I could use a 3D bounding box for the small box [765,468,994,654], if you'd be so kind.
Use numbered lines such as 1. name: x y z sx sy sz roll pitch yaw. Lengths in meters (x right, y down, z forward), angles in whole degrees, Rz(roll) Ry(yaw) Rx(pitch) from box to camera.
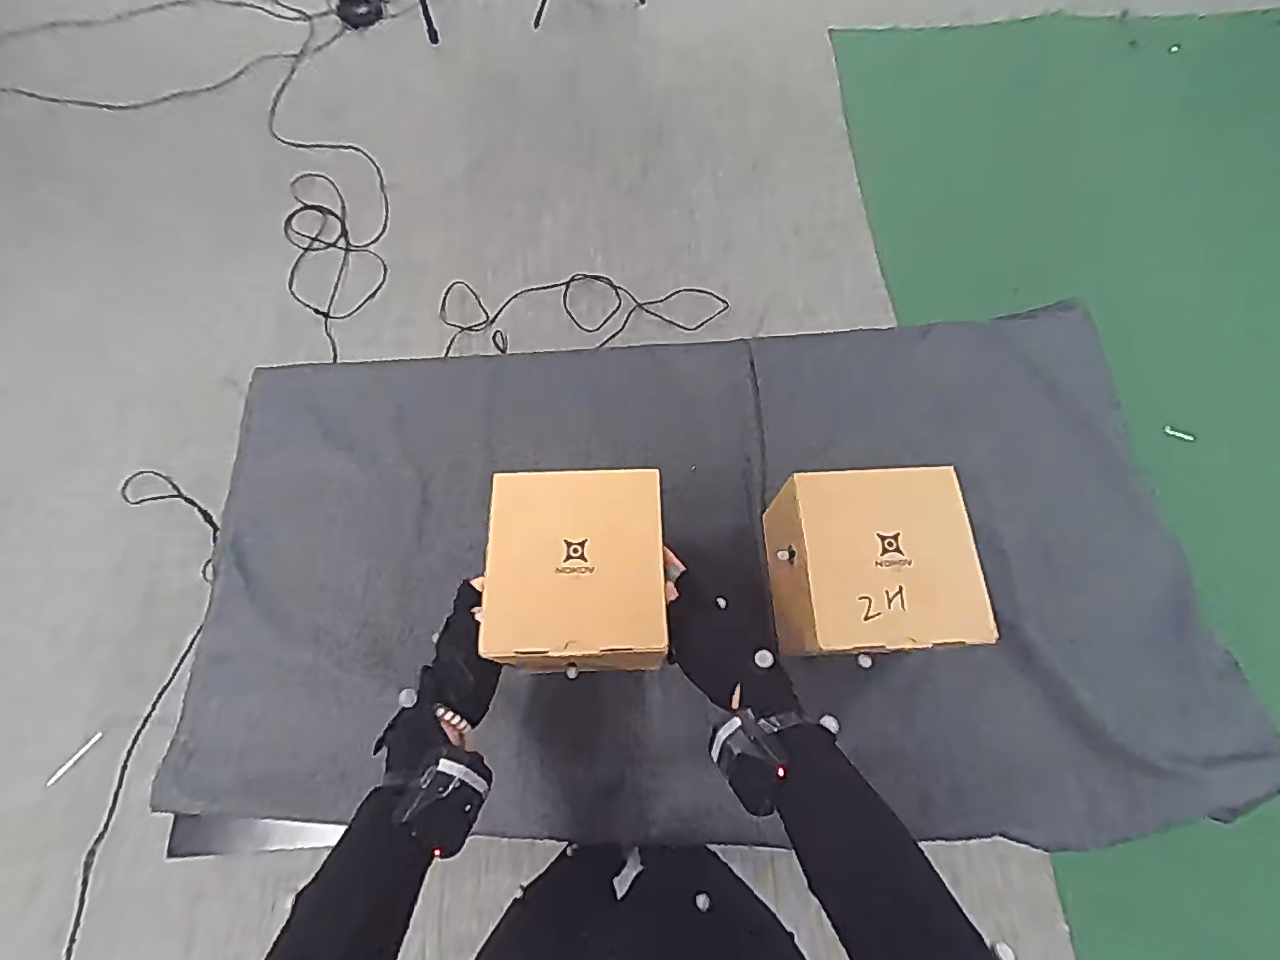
1. small box: 0.242 0.097 0.599 0.168 0.176 0.179 -2 71 0

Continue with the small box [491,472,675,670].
1. small box: -0.056 0.104 0.584 0.168 0.176 0.179 -1 67 -3
